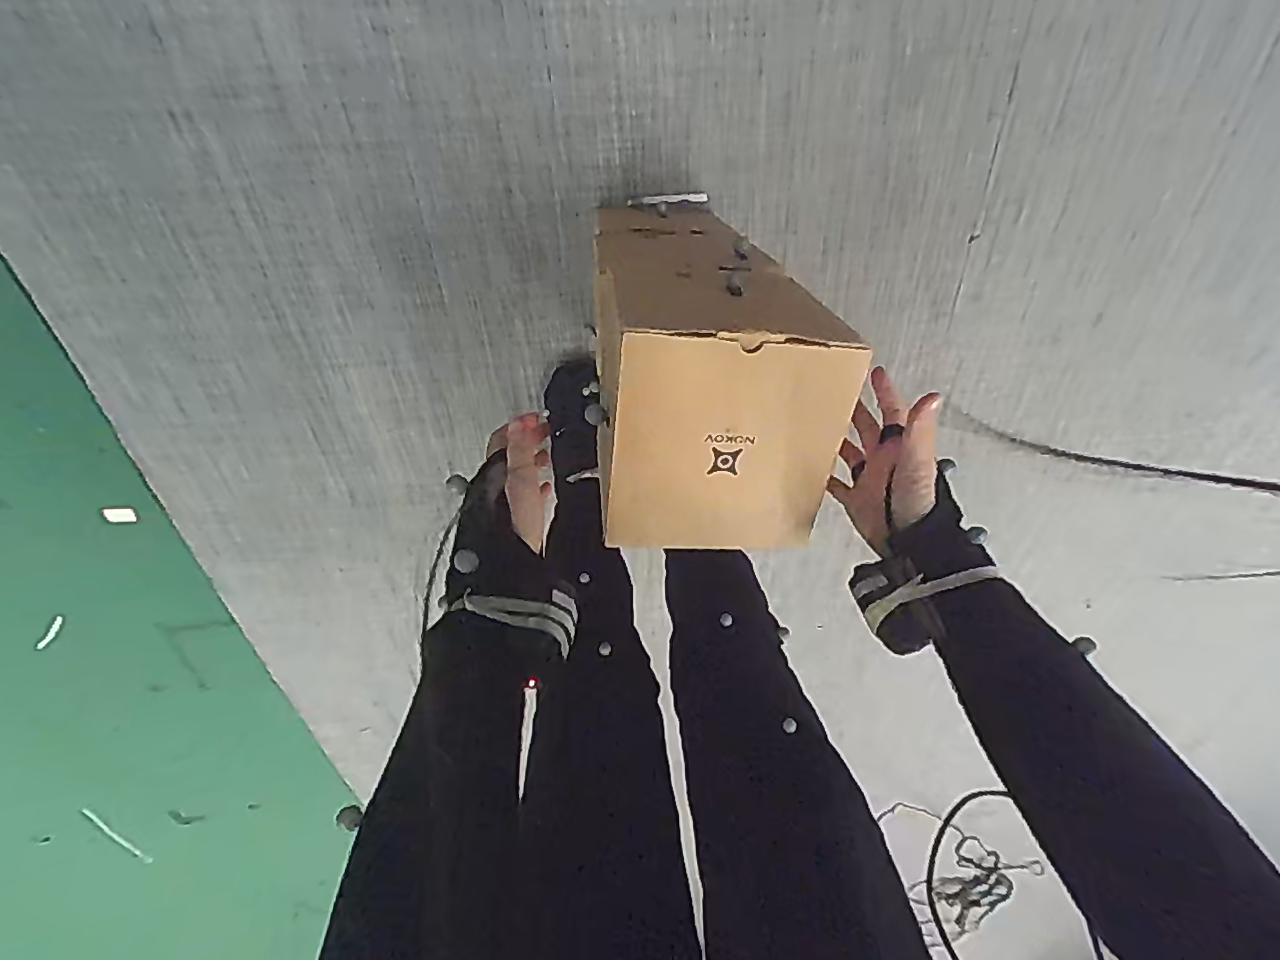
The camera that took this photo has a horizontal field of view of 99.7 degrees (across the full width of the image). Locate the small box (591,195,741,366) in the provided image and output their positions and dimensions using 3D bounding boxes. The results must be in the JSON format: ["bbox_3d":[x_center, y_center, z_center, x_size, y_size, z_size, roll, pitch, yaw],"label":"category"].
[{"bbox_3d":[0.021,-0.261,0.712,0.168,0.176,0.179,0,125,-7],"label":"small box"}]

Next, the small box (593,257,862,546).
[{"bbox_3d":[0.050,-0.068,0.451,0.168,0.176,0.179,3,125,-7],"label":"small box"}]
